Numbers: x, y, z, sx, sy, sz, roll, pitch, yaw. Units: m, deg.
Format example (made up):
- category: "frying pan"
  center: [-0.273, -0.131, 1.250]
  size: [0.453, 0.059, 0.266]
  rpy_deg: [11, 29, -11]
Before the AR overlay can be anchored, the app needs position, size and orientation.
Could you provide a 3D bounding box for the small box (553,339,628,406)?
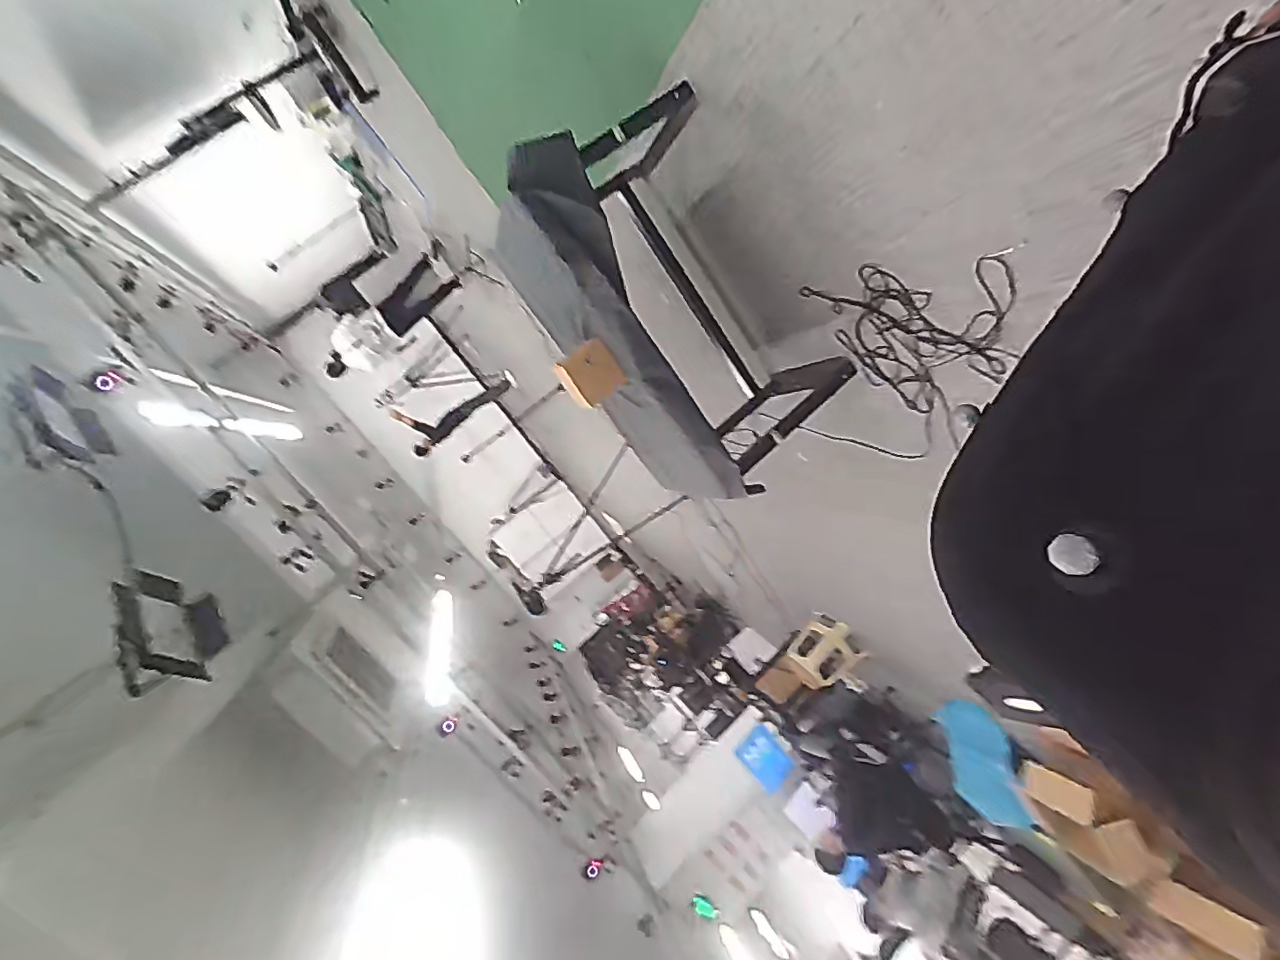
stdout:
- category: "small box"
  center: [-0.173, -0.382, 1.903]
  size: [0.179, 0.176, 0.168]
  rpy_deg: [55, 168, -22]
